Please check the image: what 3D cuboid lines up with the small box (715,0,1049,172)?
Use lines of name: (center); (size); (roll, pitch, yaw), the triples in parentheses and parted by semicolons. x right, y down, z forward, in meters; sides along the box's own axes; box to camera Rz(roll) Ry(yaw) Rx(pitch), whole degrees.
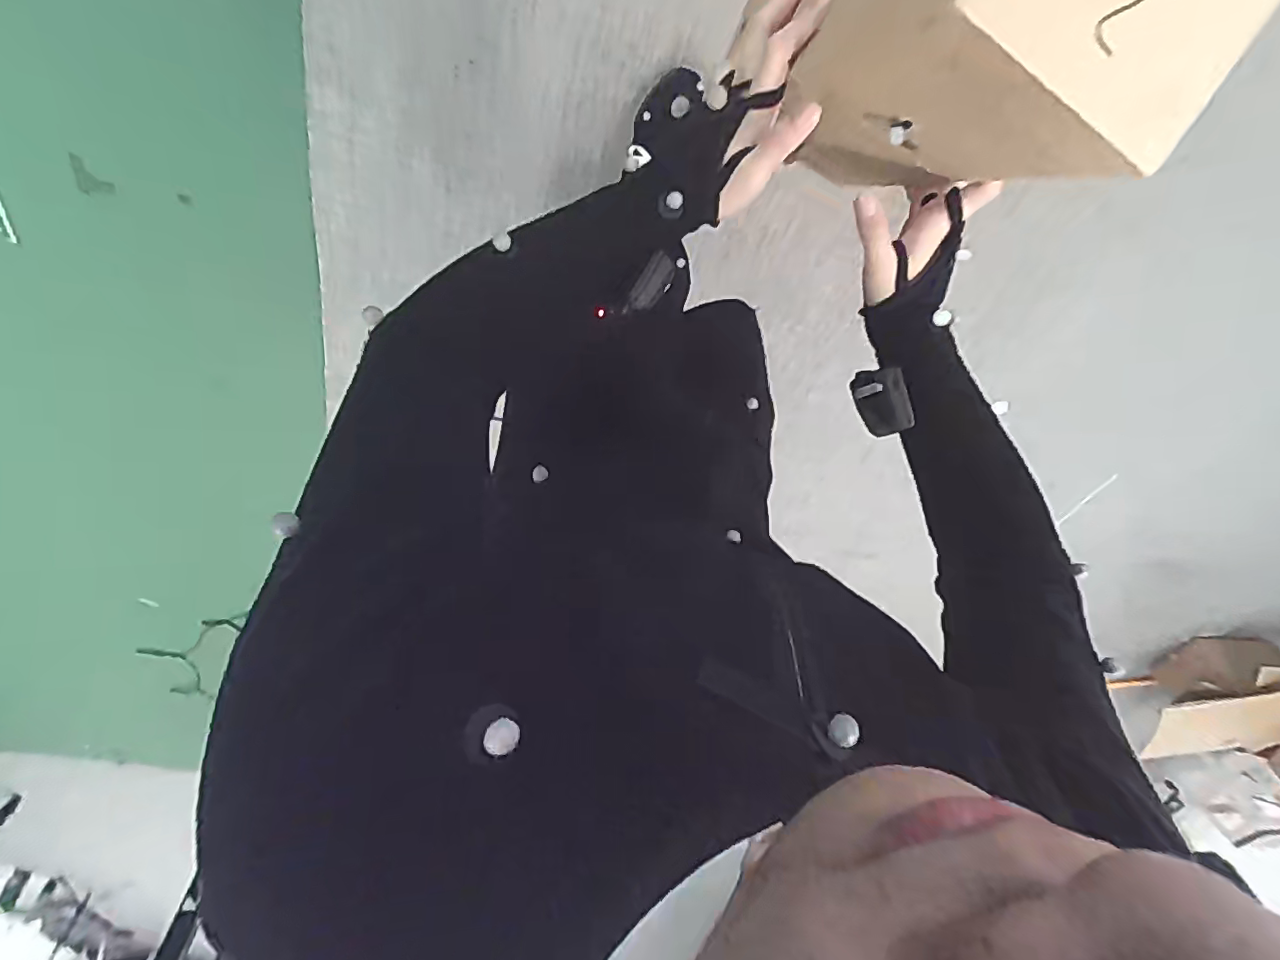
small box: (0.193, -0.384, 0.451); (0.179, 0.176, 0.168); (17, 112, -22)
